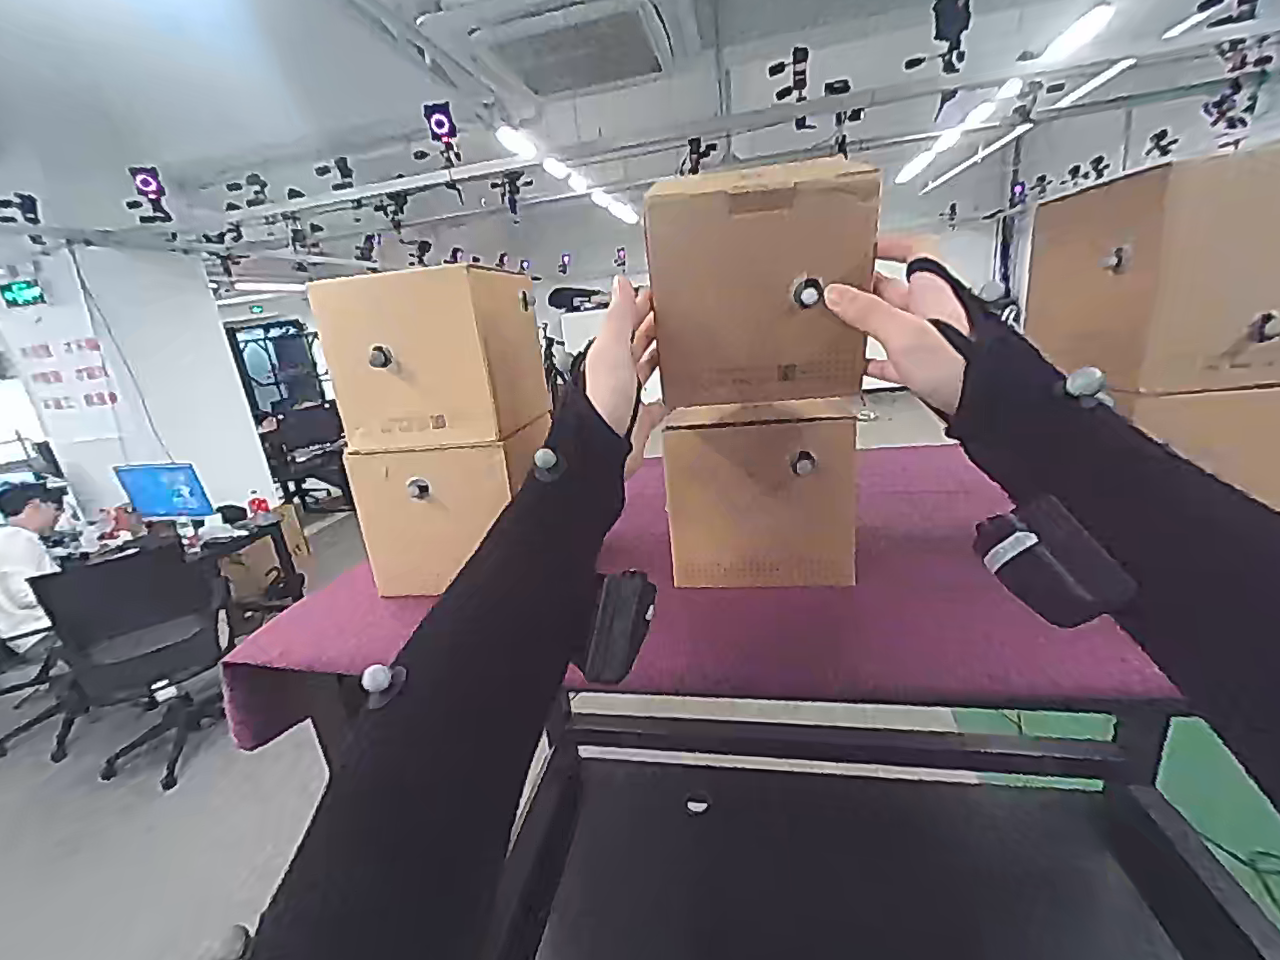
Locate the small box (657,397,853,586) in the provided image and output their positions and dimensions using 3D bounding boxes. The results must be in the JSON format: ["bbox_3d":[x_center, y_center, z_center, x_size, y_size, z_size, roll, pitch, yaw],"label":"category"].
[{"bbox_3d":[0.125,0.005,0.583,0.179,0.176,0.168,-3,17,13],"label":"small box"}]

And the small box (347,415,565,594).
[{"bbox_3d":[-0.201,0.025,0.642,0.179,0.176,0.168,-3,17,9],"label":"small box"}]

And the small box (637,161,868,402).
[{"bbox_3d":[0.098,-0.177,0.490,0.168,0.176,0.179,-2,32,10],"label":"small box"}]

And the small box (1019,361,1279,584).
[{"bbox_3d":[0.488,-0.012,0.500,0.179,0.176,0.168,-3,15,12],"label":"small box"}]

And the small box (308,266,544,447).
[{"bbox_3d":[-0.216,-0.132,0.602,0.168,0.176,0.179,-4,16,10],"label":"small box"}]
